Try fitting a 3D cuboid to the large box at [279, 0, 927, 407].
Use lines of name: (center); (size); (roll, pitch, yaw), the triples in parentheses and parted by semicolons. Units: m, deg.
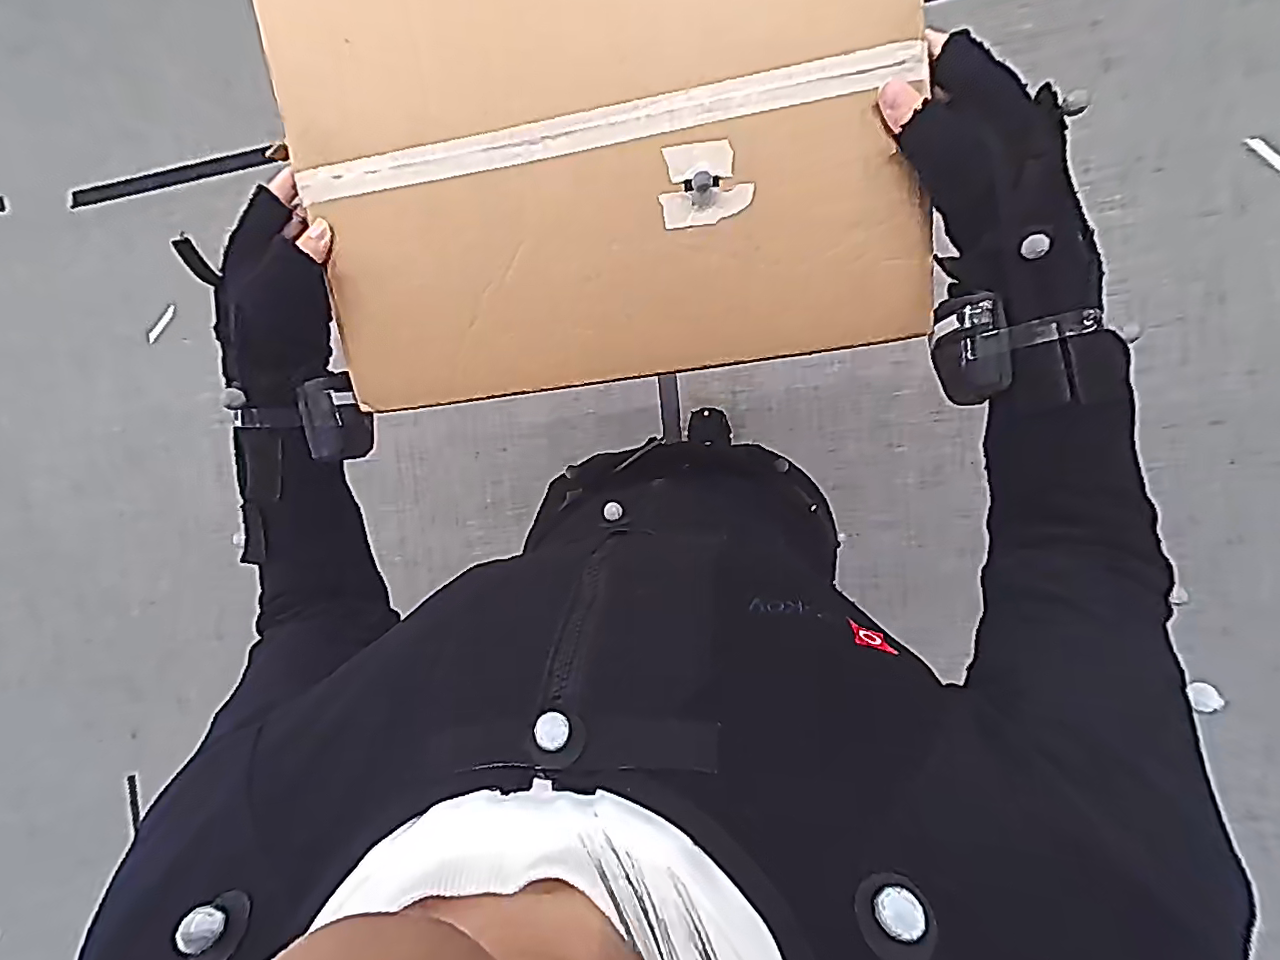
large box: (-0.013, -0.263, 0.501); (0.408, 0.320, 0.320); (-8, 103, 7)
